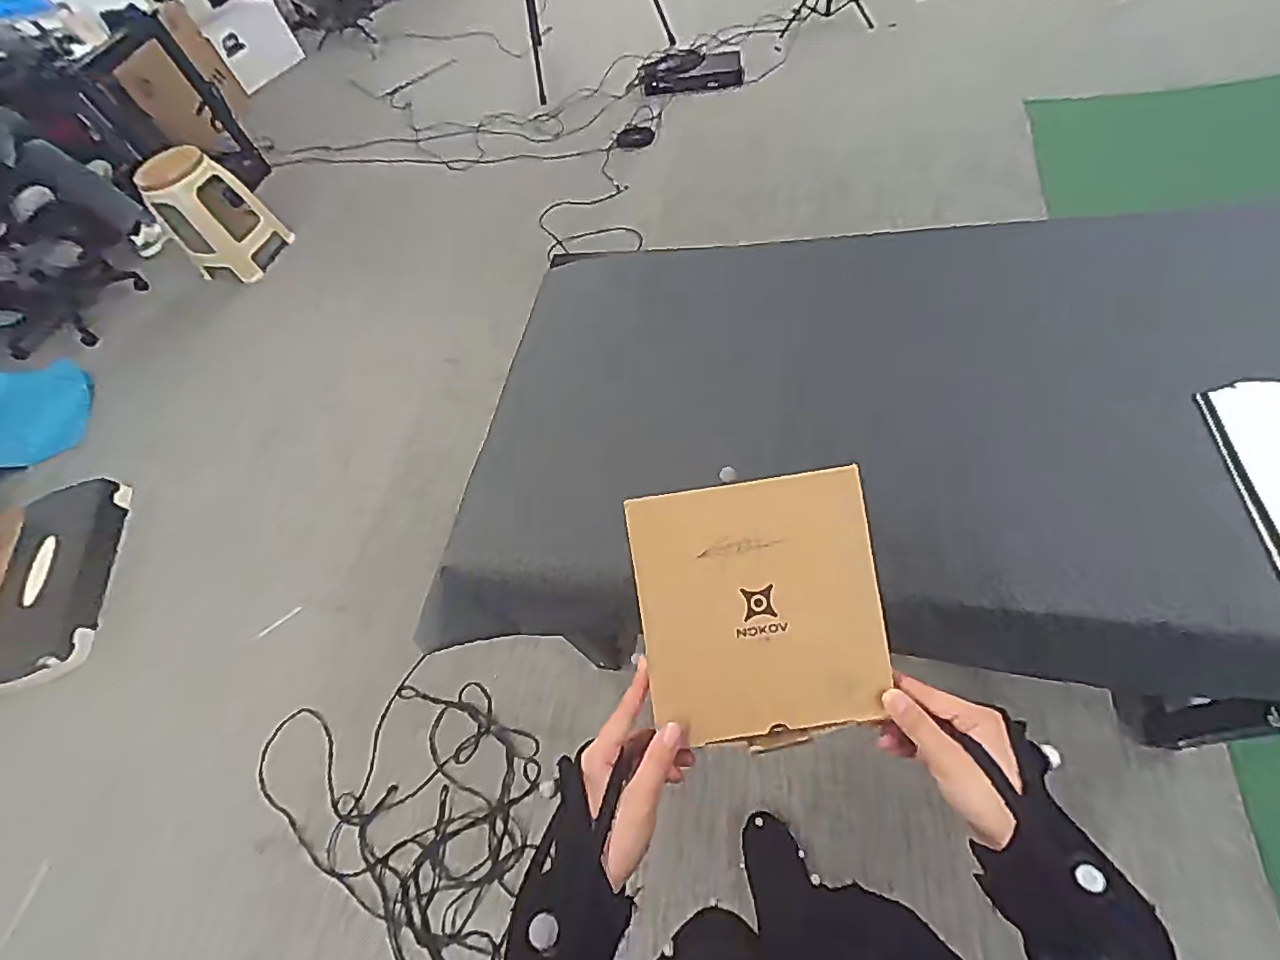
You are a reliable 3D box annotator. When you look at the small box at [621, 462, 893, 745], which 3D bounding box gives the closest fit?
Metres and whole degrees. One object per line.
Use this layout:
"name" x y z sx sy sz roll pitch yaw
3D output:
"small box" 0.081 0.087 0.449 0.168 0.176 0.179 -9 86 0
